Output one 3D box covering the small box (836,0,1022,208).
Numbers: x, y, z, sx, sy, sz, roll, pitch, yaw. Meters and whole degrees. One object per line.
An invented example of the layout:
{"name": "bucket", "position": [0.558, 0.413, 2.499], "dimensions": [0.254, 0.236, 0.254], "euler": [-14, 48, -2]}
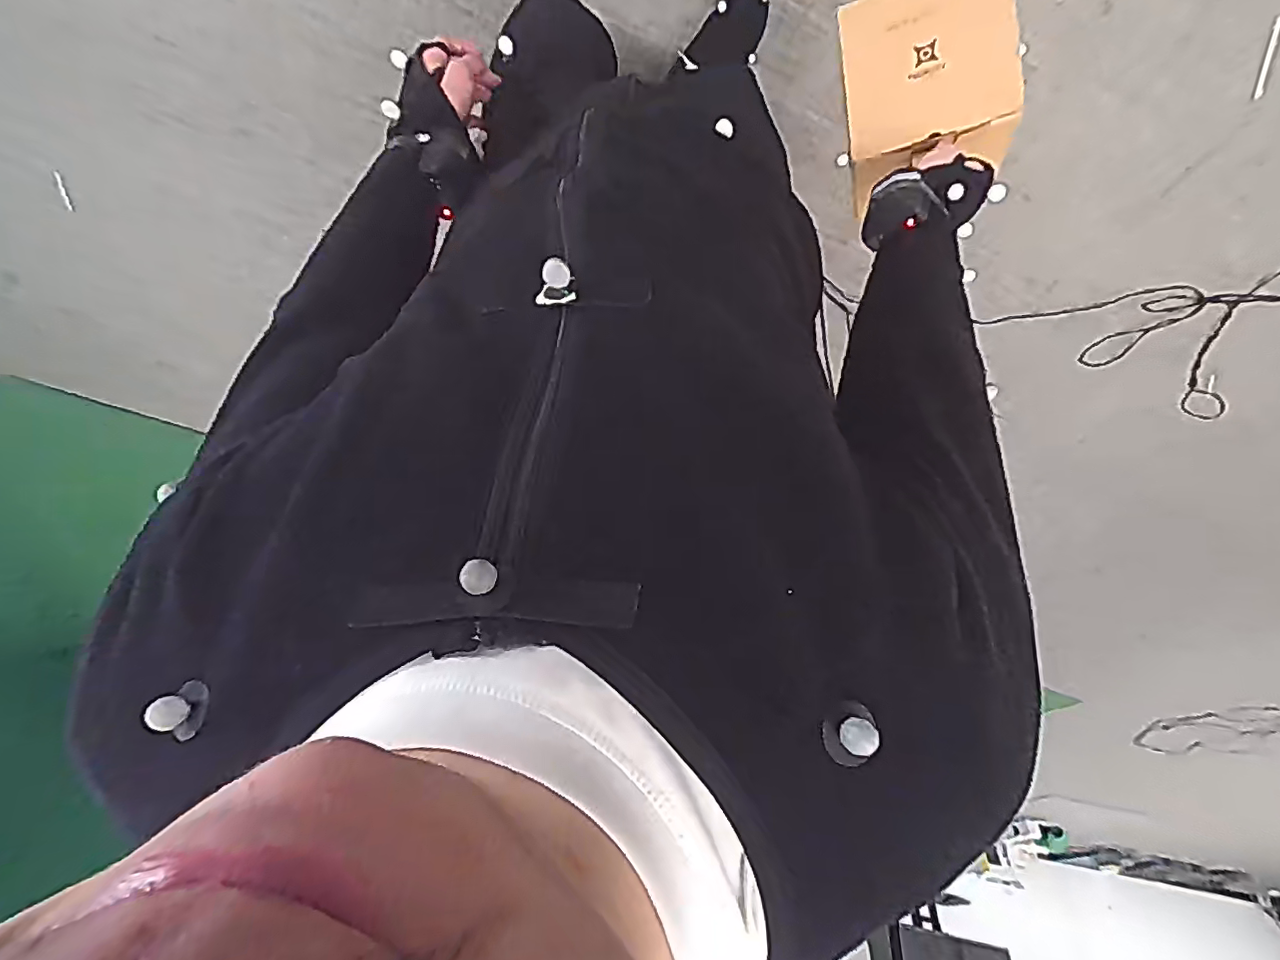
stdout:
{"name": "small box", "position": [0.332, -0.451, 0.644], "dimensions": [0.168, 0.179, 0.176], "euler": [-6, 179, 23]}
